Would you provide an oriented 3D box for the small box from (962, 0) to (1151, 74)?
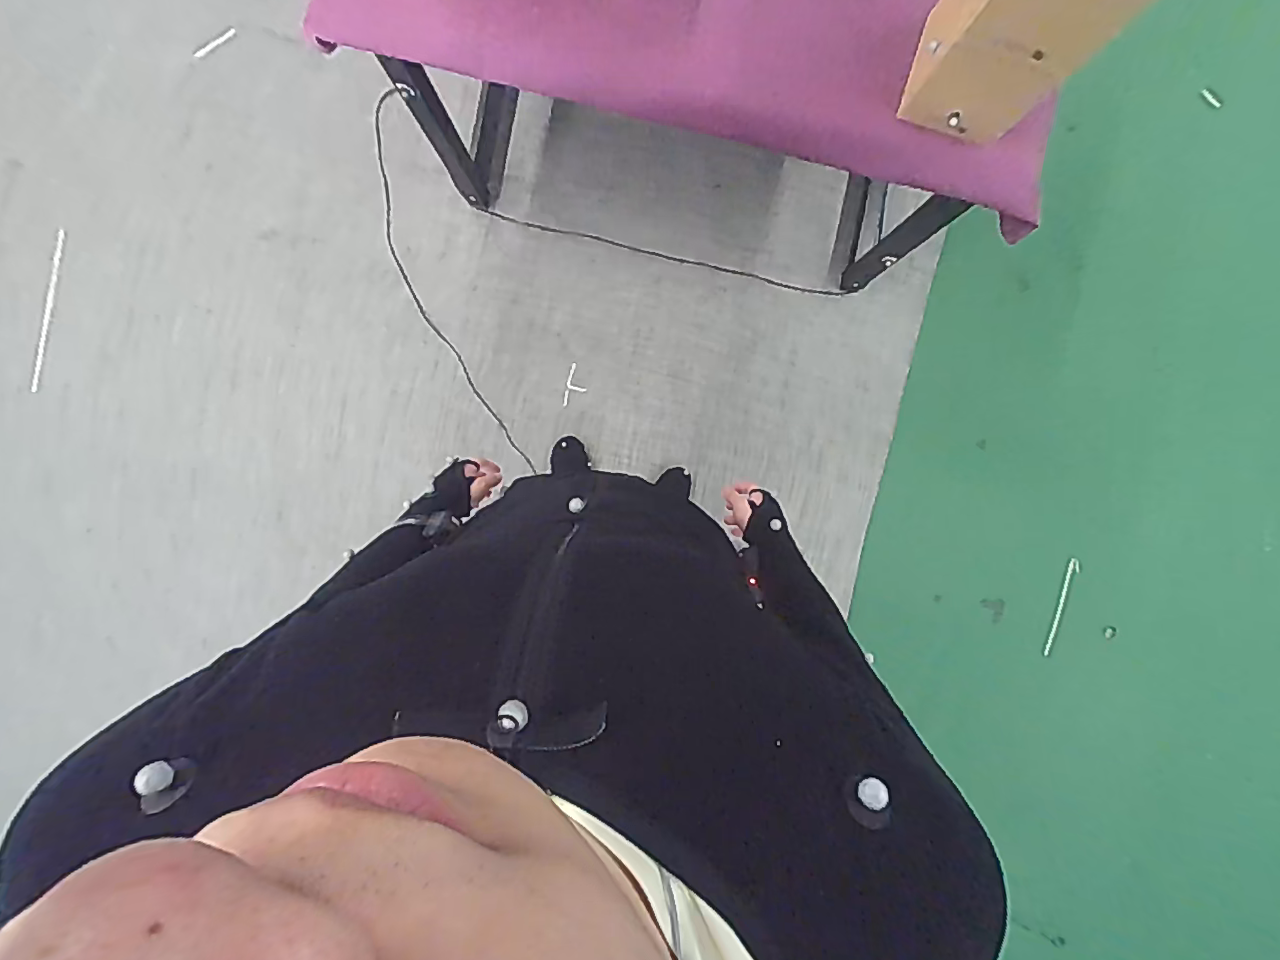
[{"bbox_3d":[0.528,-0.649,0.648,0.168,0.176,0.179,17,91,-1],"label":"small box"}]
